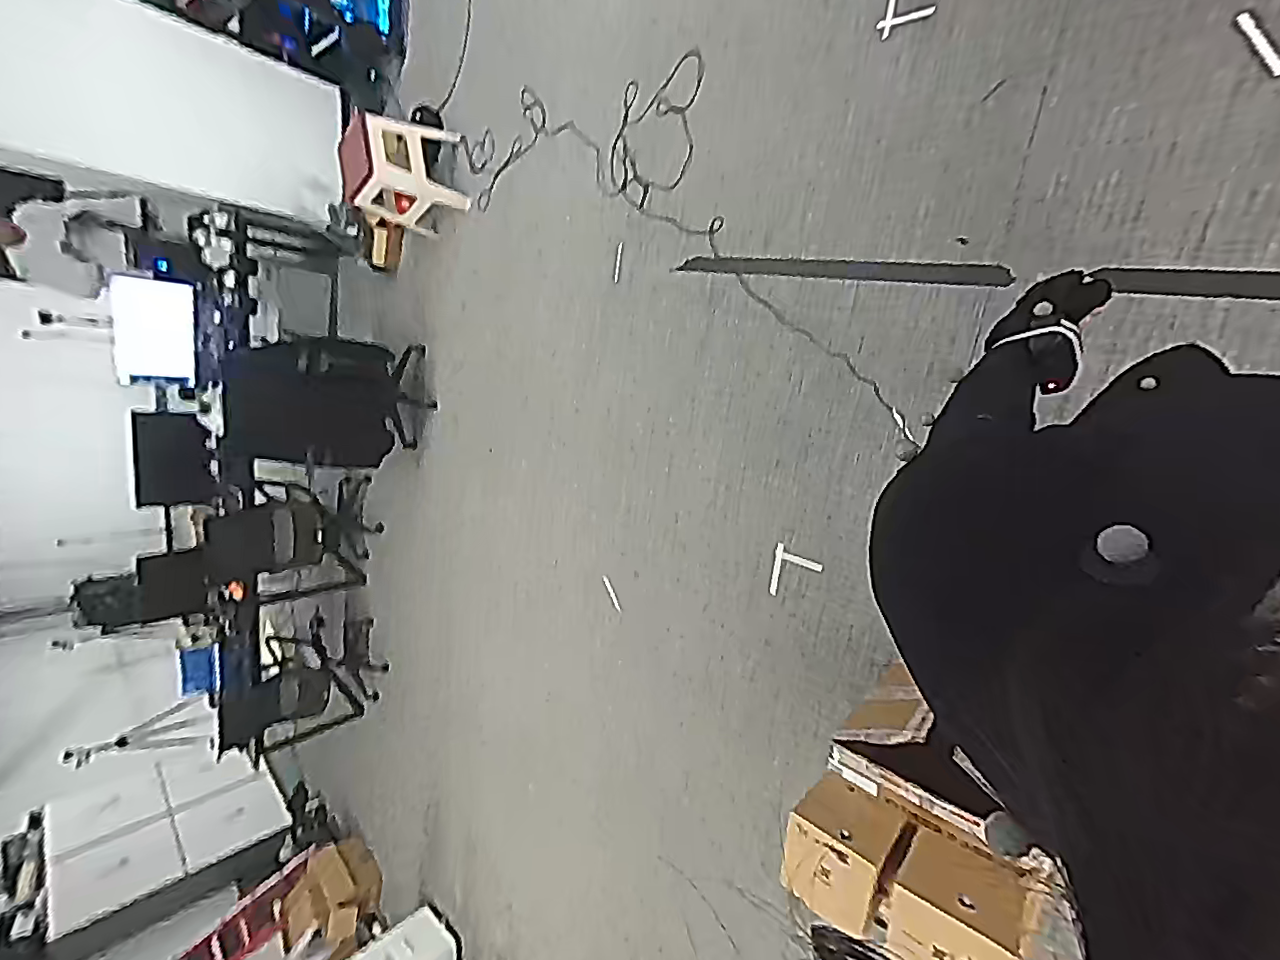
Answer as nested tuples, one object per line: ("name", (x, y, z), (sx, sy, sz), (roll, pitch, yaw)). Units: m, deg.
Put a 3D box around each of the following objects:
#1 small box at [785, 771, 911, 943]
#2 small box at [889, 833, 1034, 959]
("small box", (0.405, 0.717, 1.051), (0.168, 0.176, 0.179), (16, 108, 43))
("small box", (0.549, 0.753, 0.920), (0.179, 0.176, 0.168), (11, 104, 40))
